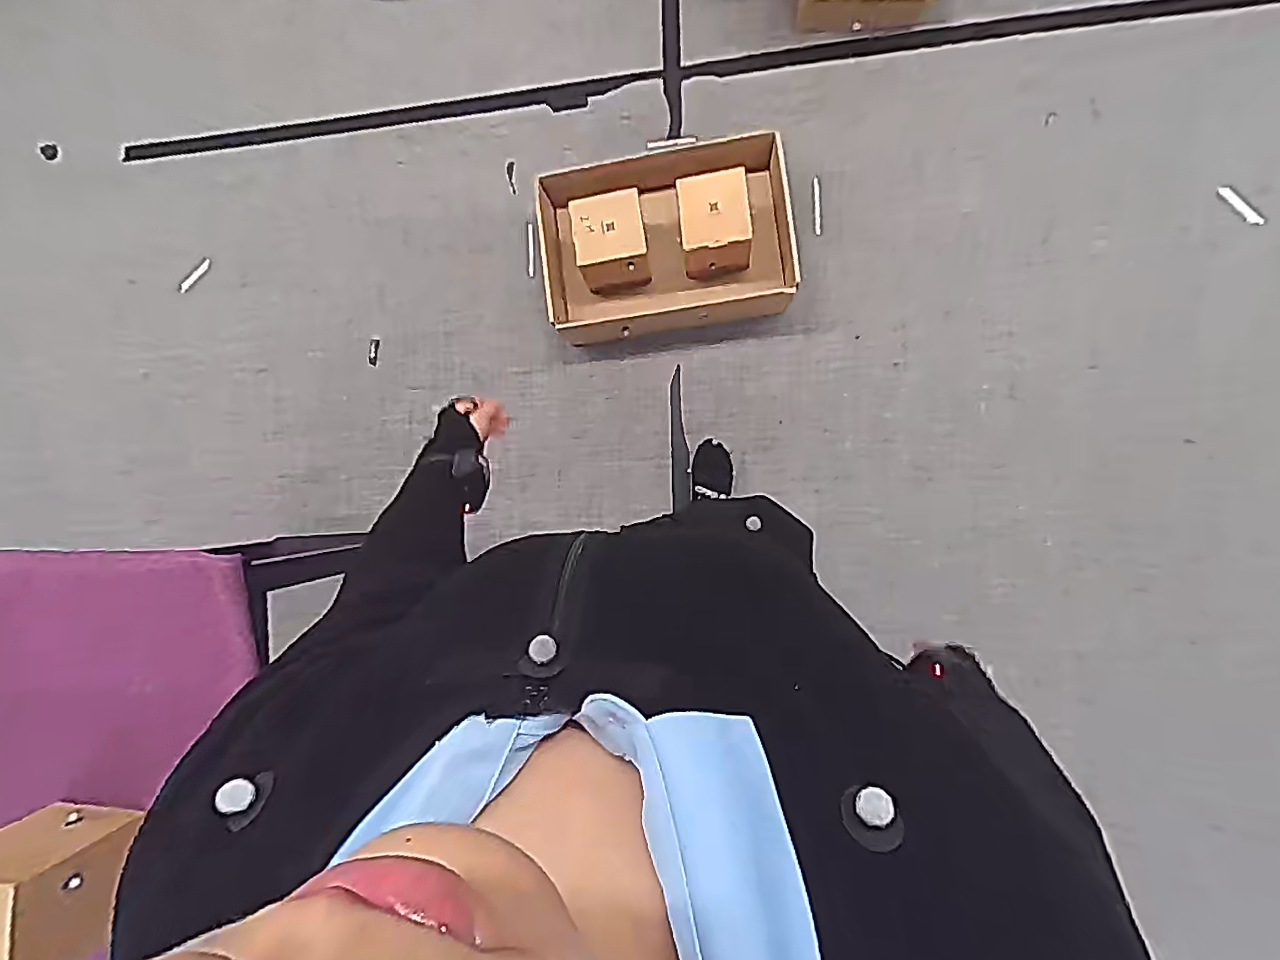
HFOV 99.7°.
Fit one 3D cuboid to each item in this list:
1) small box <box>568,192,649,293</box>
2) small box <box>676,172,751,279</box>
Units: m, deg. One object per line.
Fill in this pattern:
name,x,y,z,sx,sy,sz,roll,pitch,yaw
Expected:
small box,-0.074,-0.603,1.391,0.179,0.176,0.168,-9,87,6
small box,0.183,-0.634,1.364,0.168,0.176,0.179,-7,88,7
